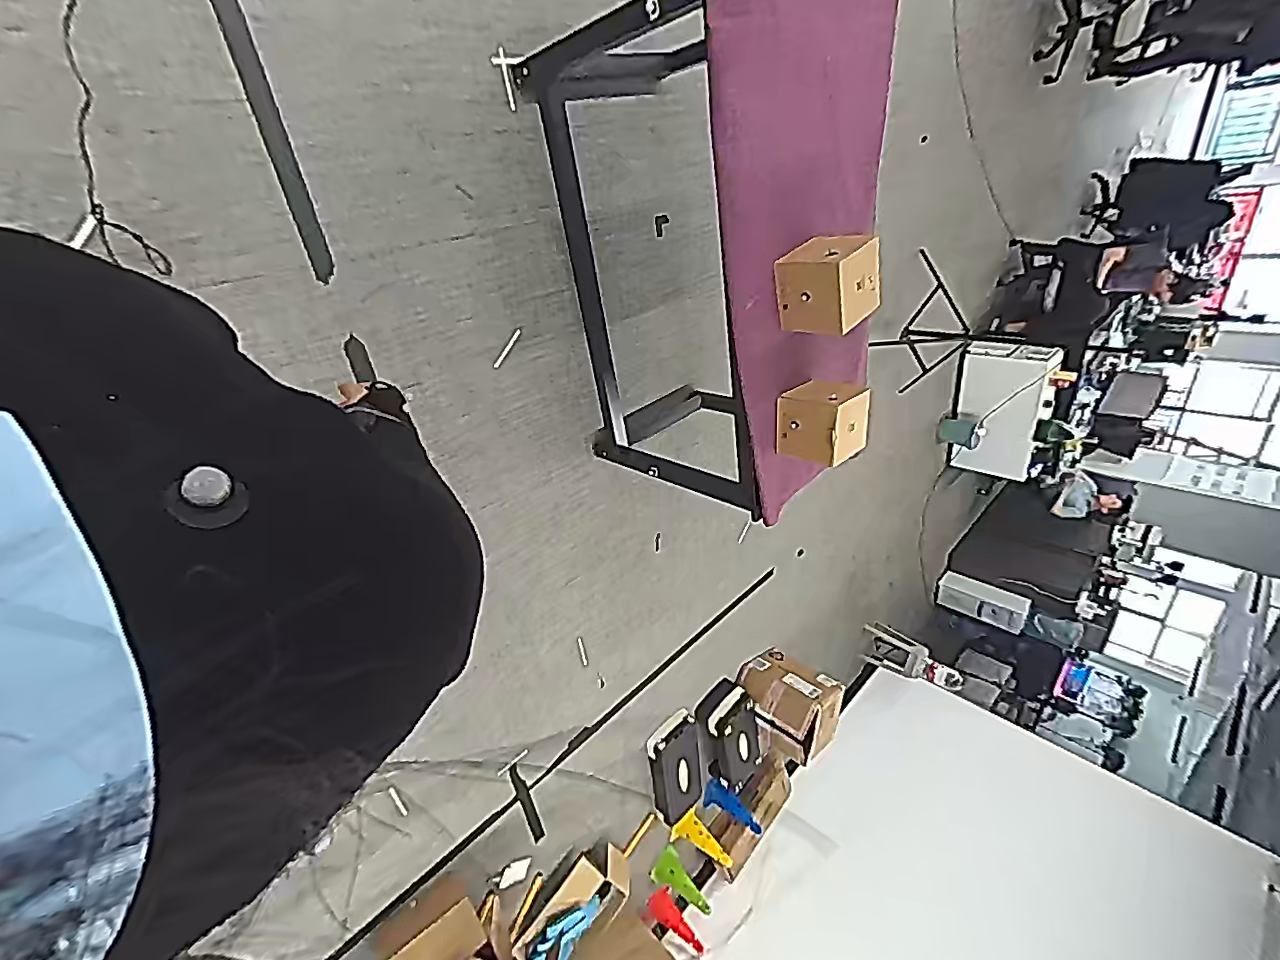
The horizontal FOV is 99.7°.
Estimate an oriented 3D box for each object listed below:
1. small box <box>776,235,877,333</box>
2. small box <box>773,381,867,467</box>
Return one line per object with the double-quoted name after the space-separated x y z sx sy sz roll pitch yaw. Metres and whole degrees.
0.435 -0.461 1.273 0.179 0.176 0.168 -39 130 -29 "small box"
0.474 -0.155 1.429 0.179 0.176 0.168 -27 122 -37 "small box"
